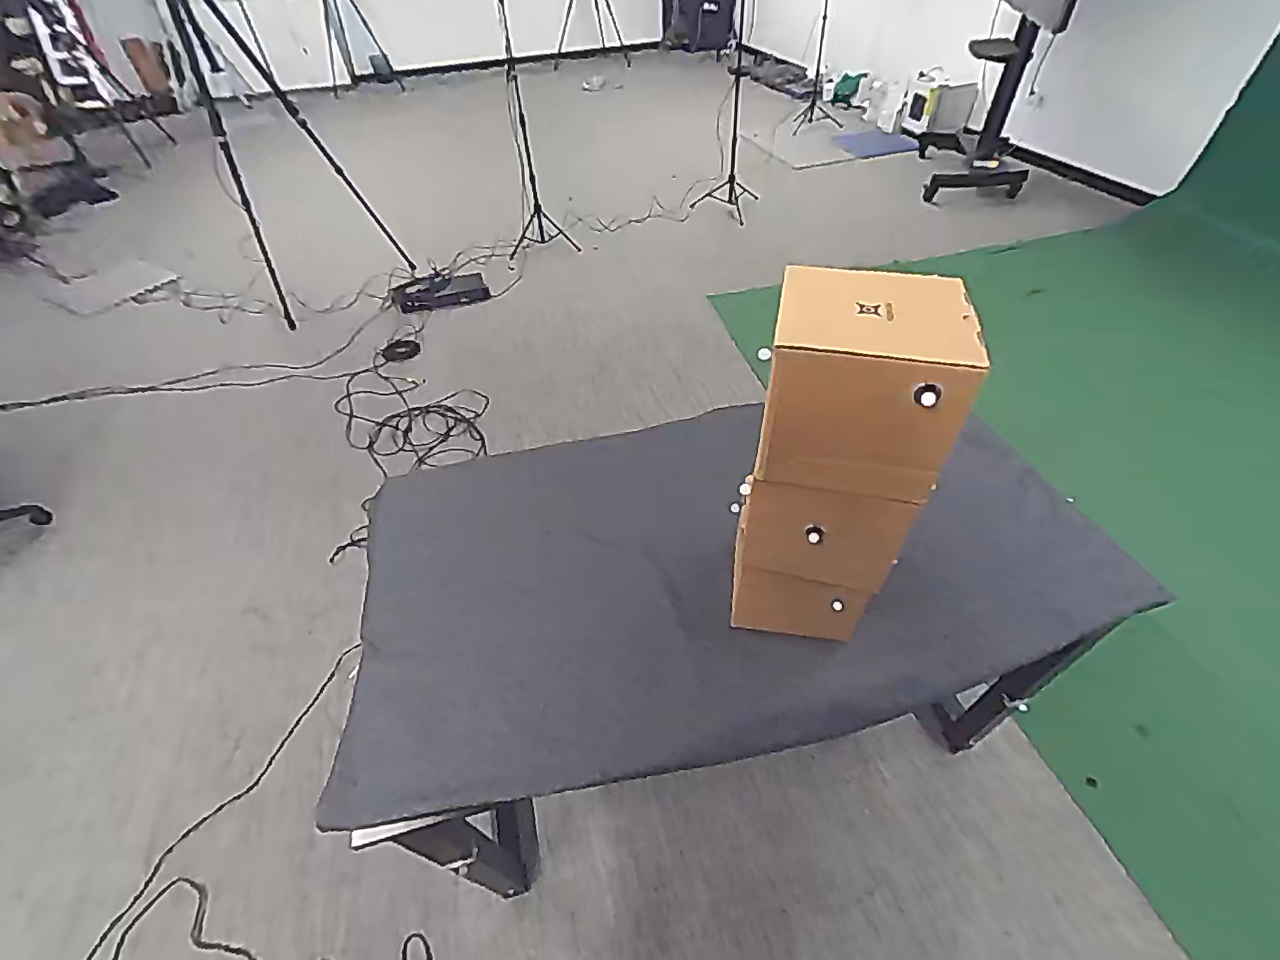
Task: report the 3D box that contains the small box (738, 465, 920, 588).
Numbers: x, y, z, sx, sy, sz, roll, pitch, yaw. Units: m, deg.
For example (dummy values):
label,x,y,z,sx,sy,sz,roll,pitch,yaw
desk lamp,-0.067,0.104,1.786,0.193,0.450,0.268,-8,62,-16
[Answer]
label,x,y,z,sx,sy,sz,roll,pitch,yaw
small box,0.228,0.014,0.677,0.179,0.176,0.168,10,47,14

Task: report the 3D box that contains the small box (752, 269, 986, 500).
label,x,y,z,sx,sy,sz,roll,pitch,yaw
small box,0.217,-0.098,0.560,0.179,0.176,0.168,9,47,11
